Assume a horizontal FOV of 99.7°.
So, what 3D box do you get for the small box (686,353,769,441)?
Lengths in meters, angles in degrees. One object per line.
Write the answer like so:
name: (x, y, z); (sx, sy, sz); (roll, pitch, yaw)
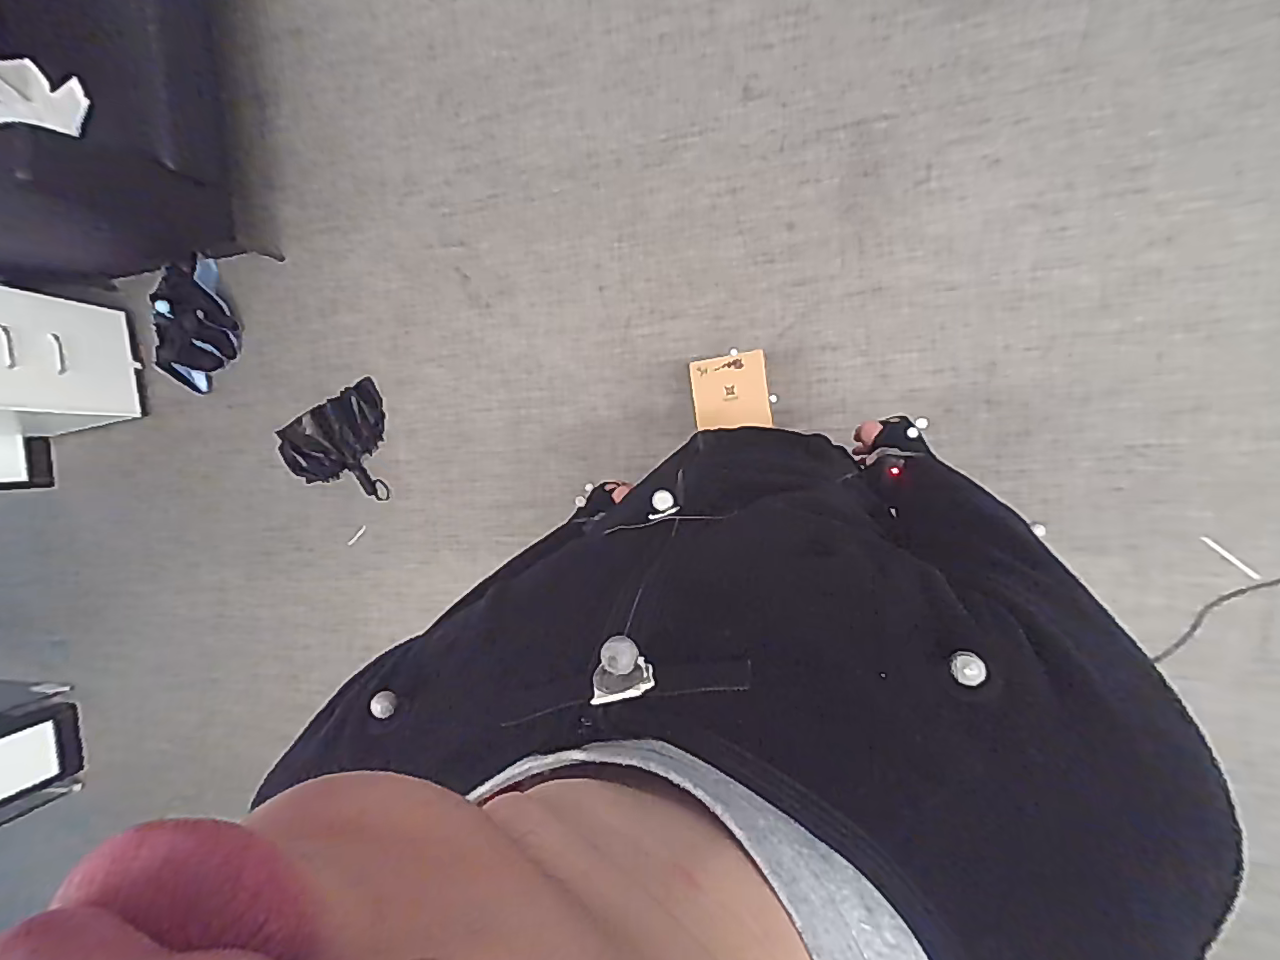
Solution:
small box: (0.213, -0.191, 1.283); (0.168, 0.176, 0.179); (-7, 92, 15)
